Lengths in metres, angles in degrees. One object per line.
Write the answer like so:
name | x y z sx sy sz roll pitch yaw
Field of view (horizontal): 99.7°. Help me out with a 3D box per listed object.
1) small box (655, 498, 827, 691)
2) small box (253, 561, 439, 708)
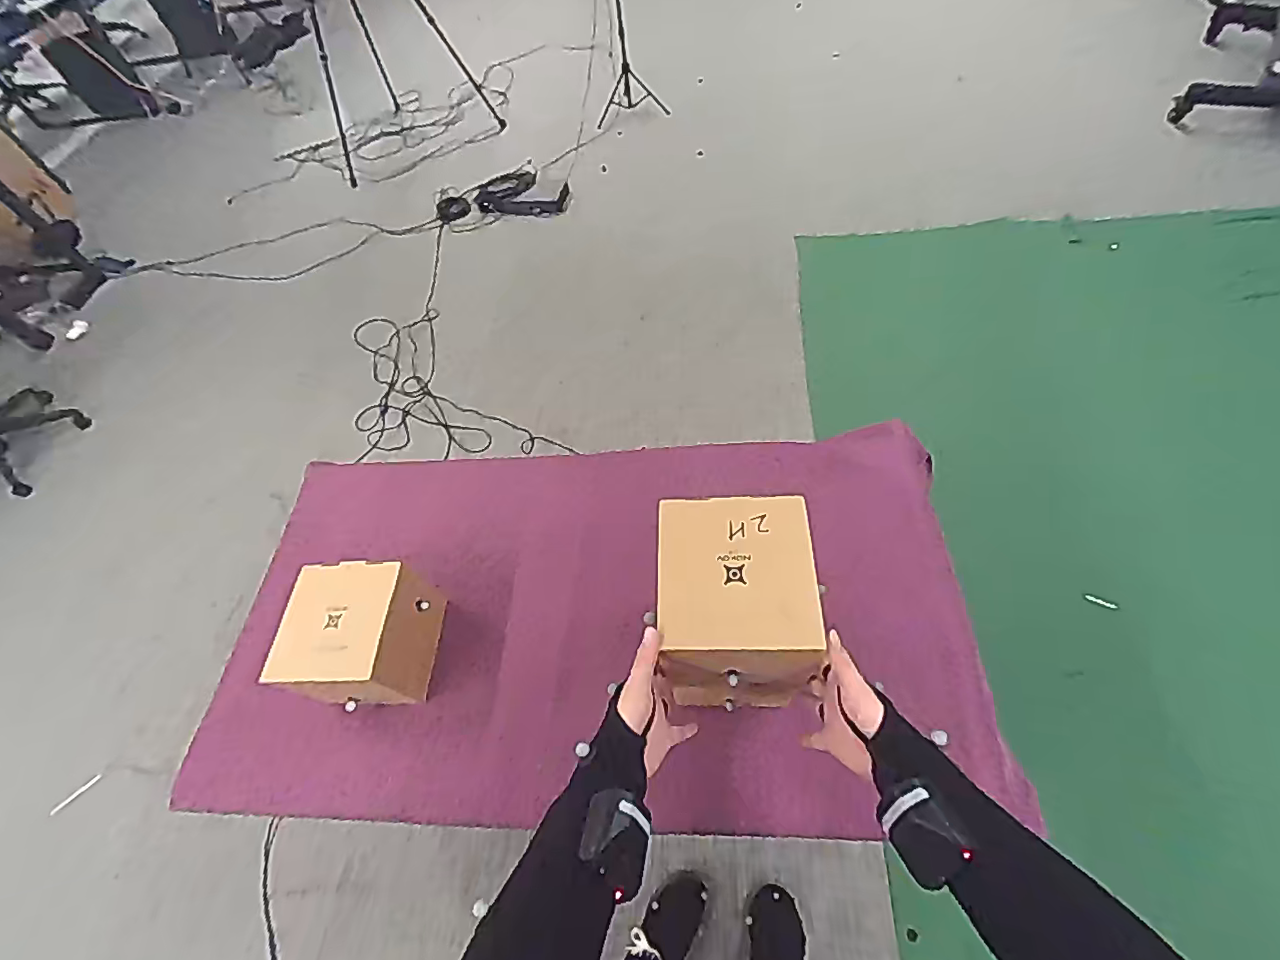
small box | 0.109 0.137 0.625 0.168 0.176 0.179 -1 57 6
small box | -0.431 0.239 0.831 0.168 0.176 0.179 -2 57 7
